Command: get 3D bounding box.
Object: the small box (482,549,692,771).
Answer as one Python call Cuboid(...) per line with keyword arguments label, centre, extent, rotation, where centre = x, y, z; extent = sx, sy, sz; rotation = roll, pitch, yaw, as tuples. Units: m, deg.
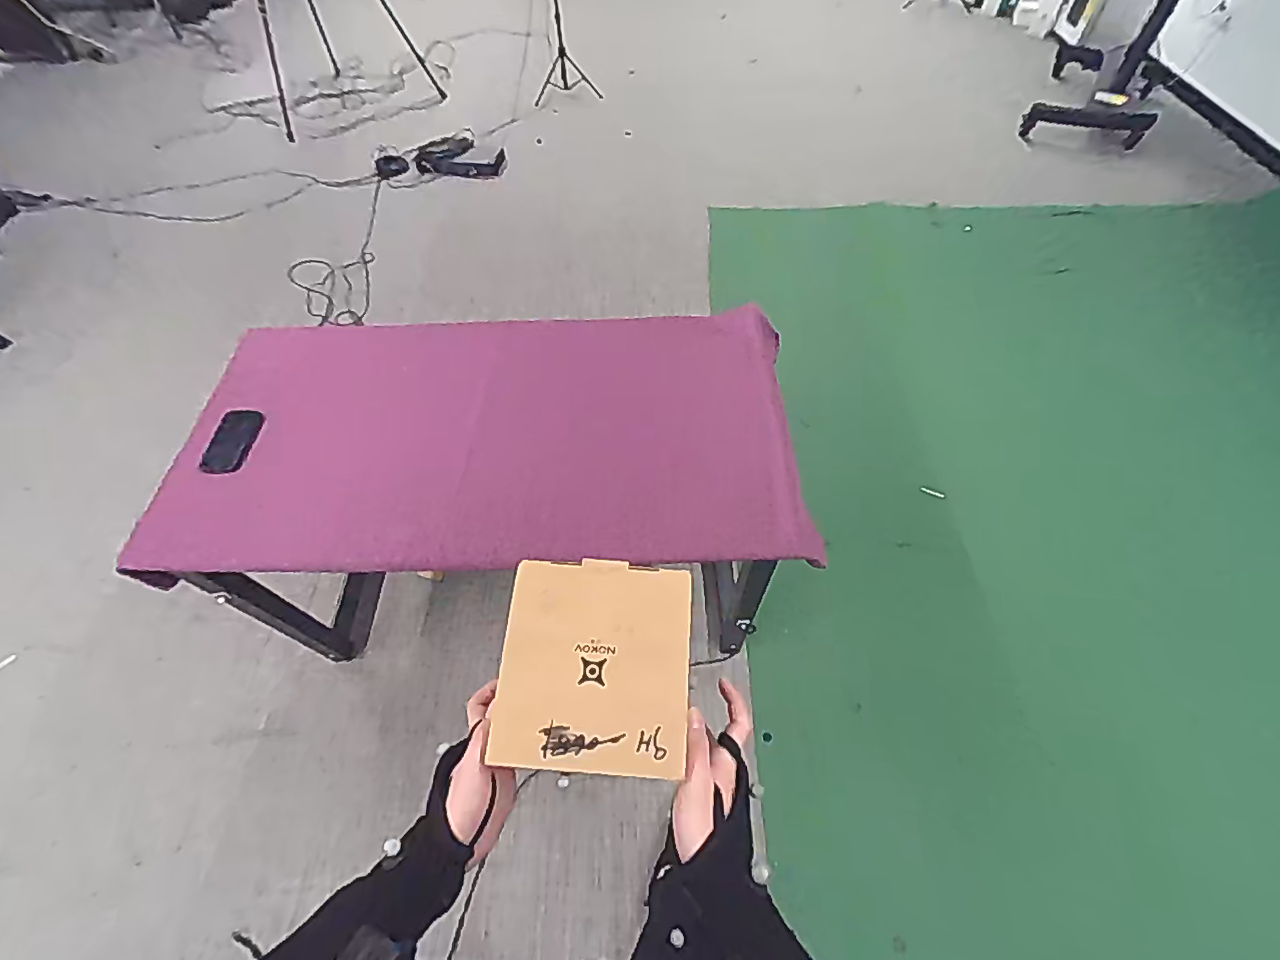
Cuboid(label="small box", centre=(-0.038, 0.183, 0.537), extent=(0.168, 0.176, 0.179), rotation=(3, 63, 4))
